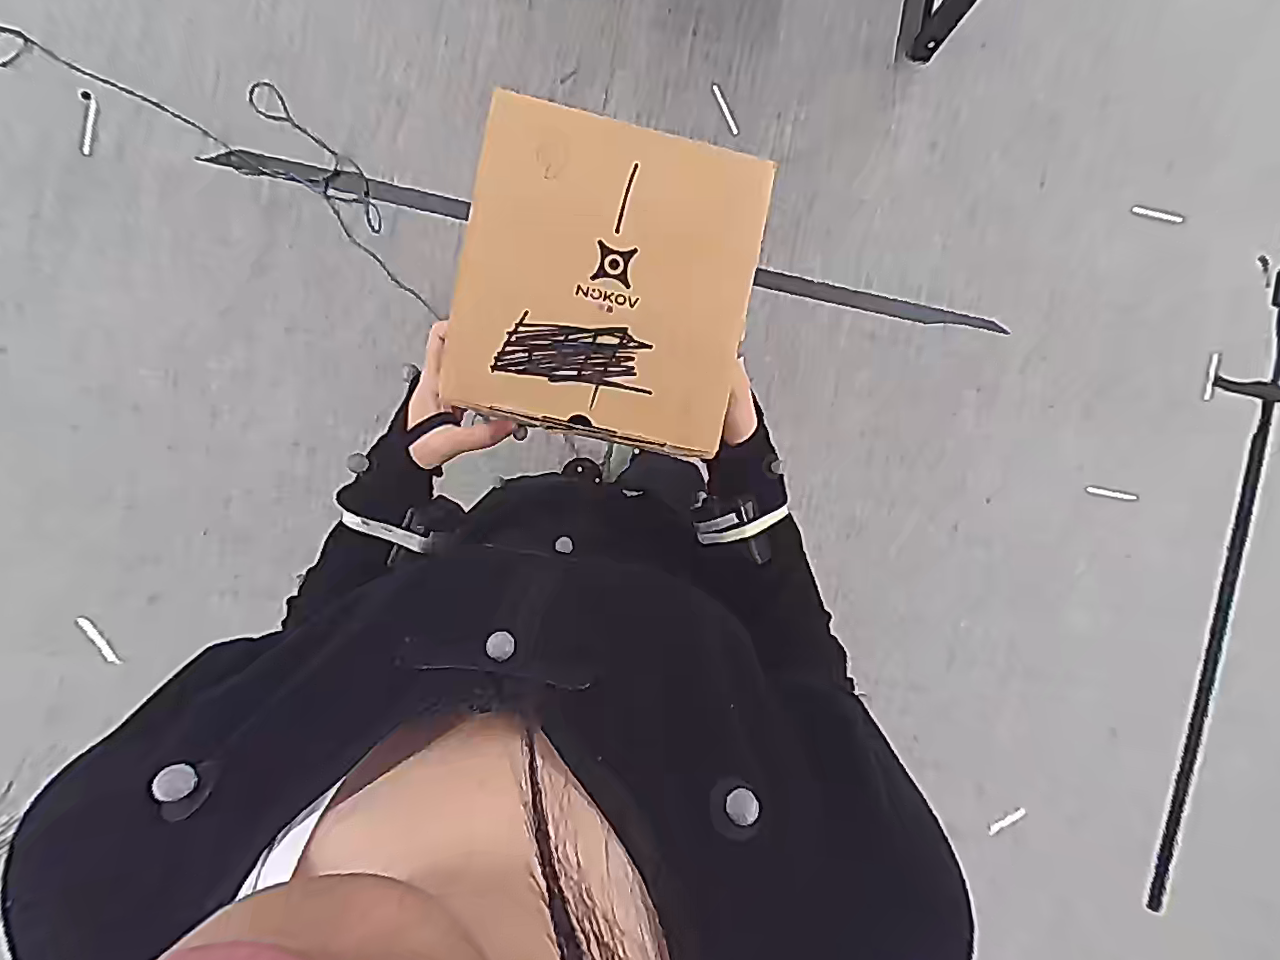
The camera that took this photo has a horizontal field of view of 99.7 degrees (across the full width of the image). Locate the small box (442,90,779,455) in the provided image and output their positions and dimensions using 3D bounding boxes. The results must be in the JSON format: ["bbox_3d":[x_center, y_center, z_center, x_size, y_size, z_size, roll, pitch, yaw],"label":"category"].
[{"bbox_3d":[-0.022,-0.119,0.387,0.168,0.176,0.179,12,91,-6],"label":"small box"}]

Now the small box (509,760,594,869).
[{"bbox_3d":[-0.228,0.876,1.432,0.179,0.176,0.168,18,91,-6],"label":"small box"}]

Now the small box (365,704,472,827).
[{"bbox_3d":[-0.499,0.648,1.243,0.168,0.176,0.179,13,91,-4],"label":"small box"}]
